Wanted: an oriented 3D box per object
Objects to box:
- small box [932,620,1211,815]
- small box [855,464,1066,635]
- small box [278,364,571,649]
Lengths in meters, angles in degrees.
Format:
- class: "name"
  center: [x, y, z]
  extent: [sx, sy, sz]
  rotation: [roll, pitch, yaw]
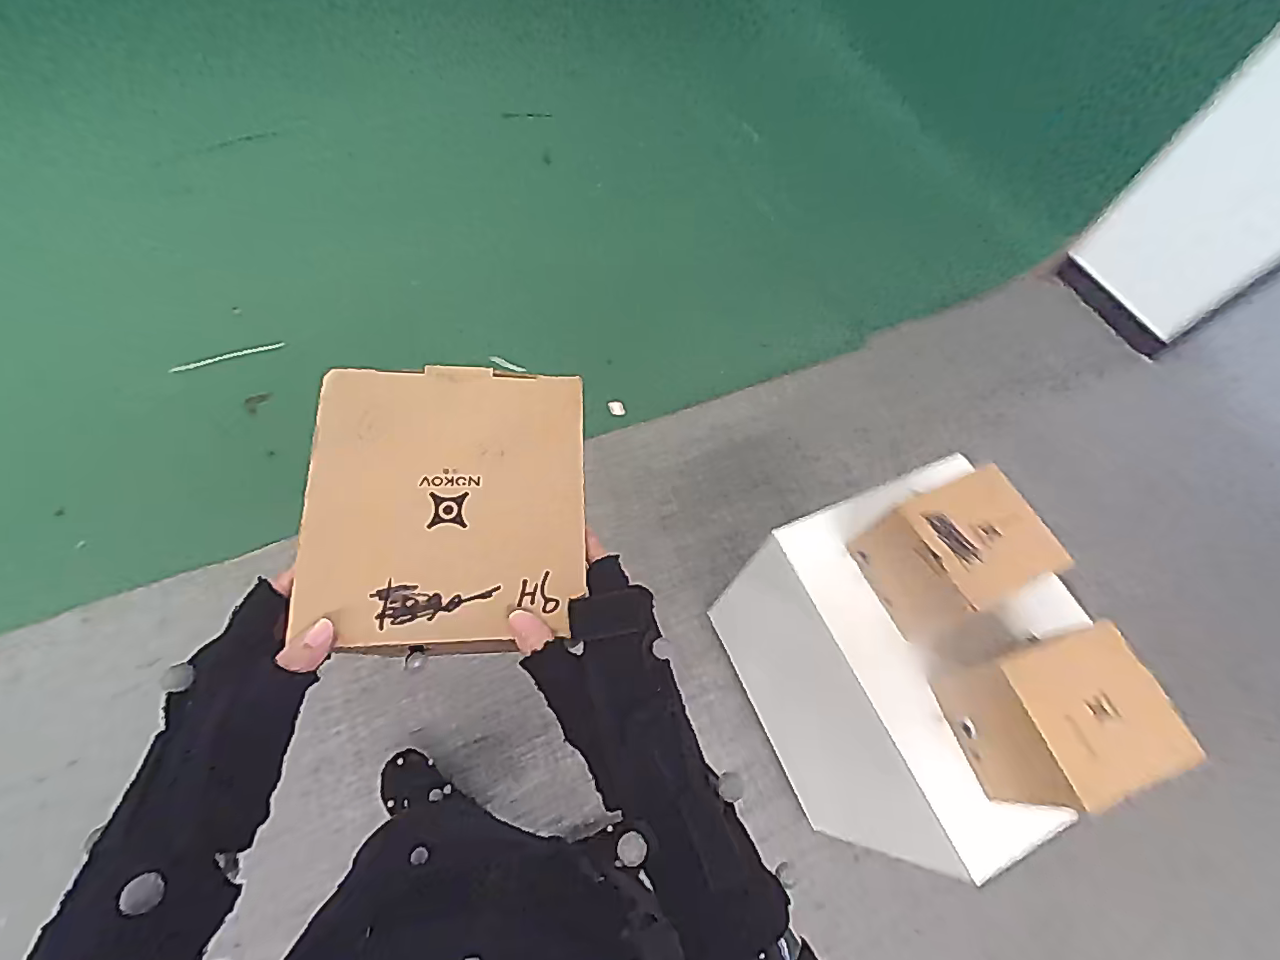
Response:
- class: "small box"
  center: [0.520, 0.296, 0.683]
  extent: [0.179, 0.176, 0.168]
  rotation: [-16, 64, -11]
- class: "small box"
  center: [0.444, 0.108, 0.789]
  extent: [0.179, 0.176, 0.168]
  rotation: [-20, 67, -15]
- class: "small box"
  center: [-0.140, 0.031, 0.418]
  extent: [0.168, 0.176, 0.179]
  rotation: [-1, 70, -9]
